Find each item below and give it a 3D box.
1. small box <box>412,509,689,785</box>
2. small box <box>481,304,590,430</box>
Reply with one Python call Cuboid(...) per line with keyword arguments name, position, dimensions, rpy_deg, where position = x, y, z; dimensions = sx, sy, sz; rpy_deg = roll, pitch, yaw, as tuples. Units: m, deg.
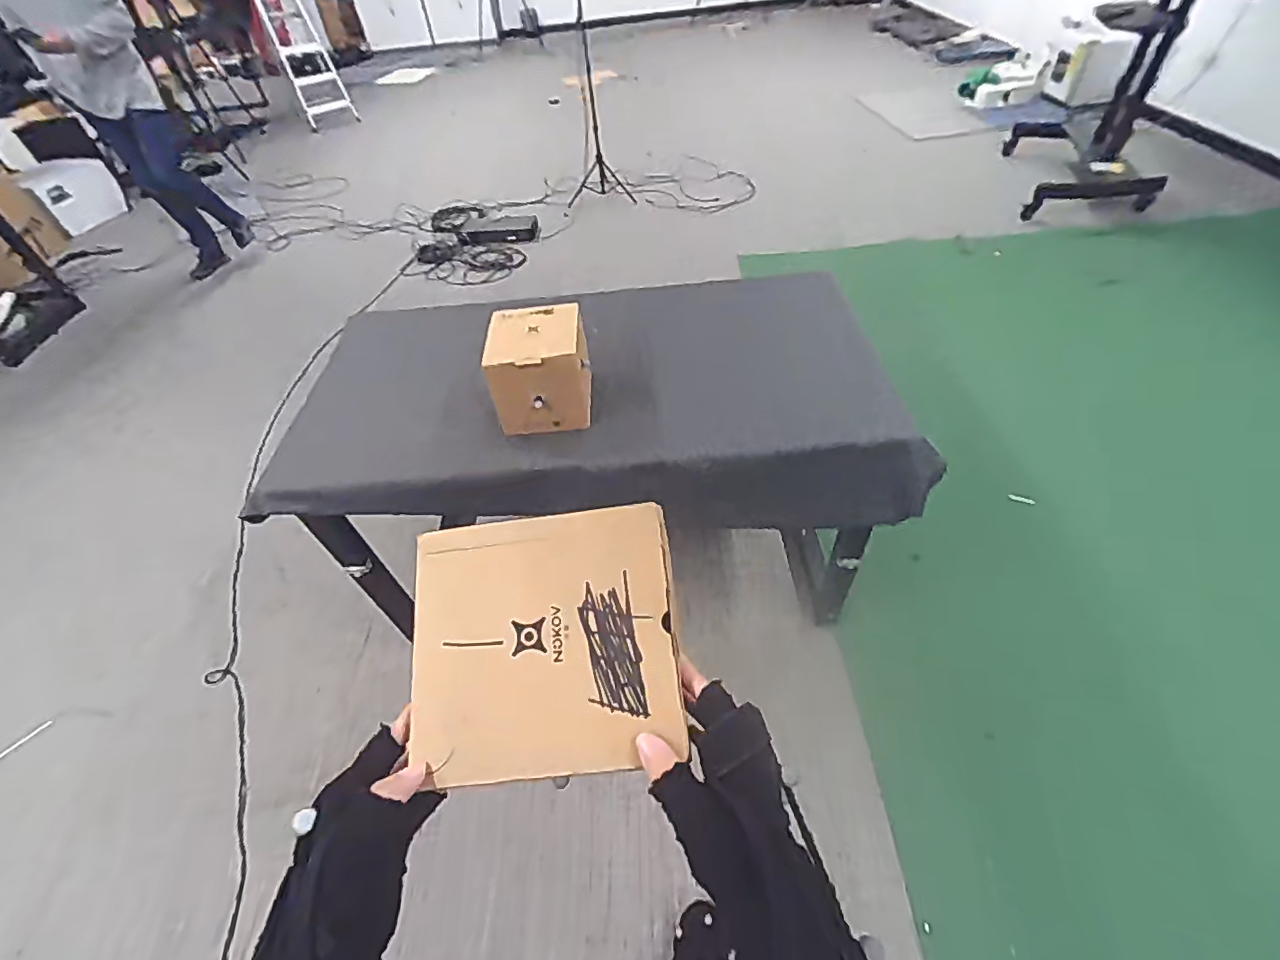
Cuboid(name="small box", position=(-0.057, 0.130, 0.434), dimensions=(0.179, 0.176, 0.168), rpy_deg=(-7, 70, 3))
Cuboid(name="small box", position=(-0.187, -0.208, 1.029), dimensions=(0.168, 0.176, 0.179), rpy_deg=(-5, 49, 1))
